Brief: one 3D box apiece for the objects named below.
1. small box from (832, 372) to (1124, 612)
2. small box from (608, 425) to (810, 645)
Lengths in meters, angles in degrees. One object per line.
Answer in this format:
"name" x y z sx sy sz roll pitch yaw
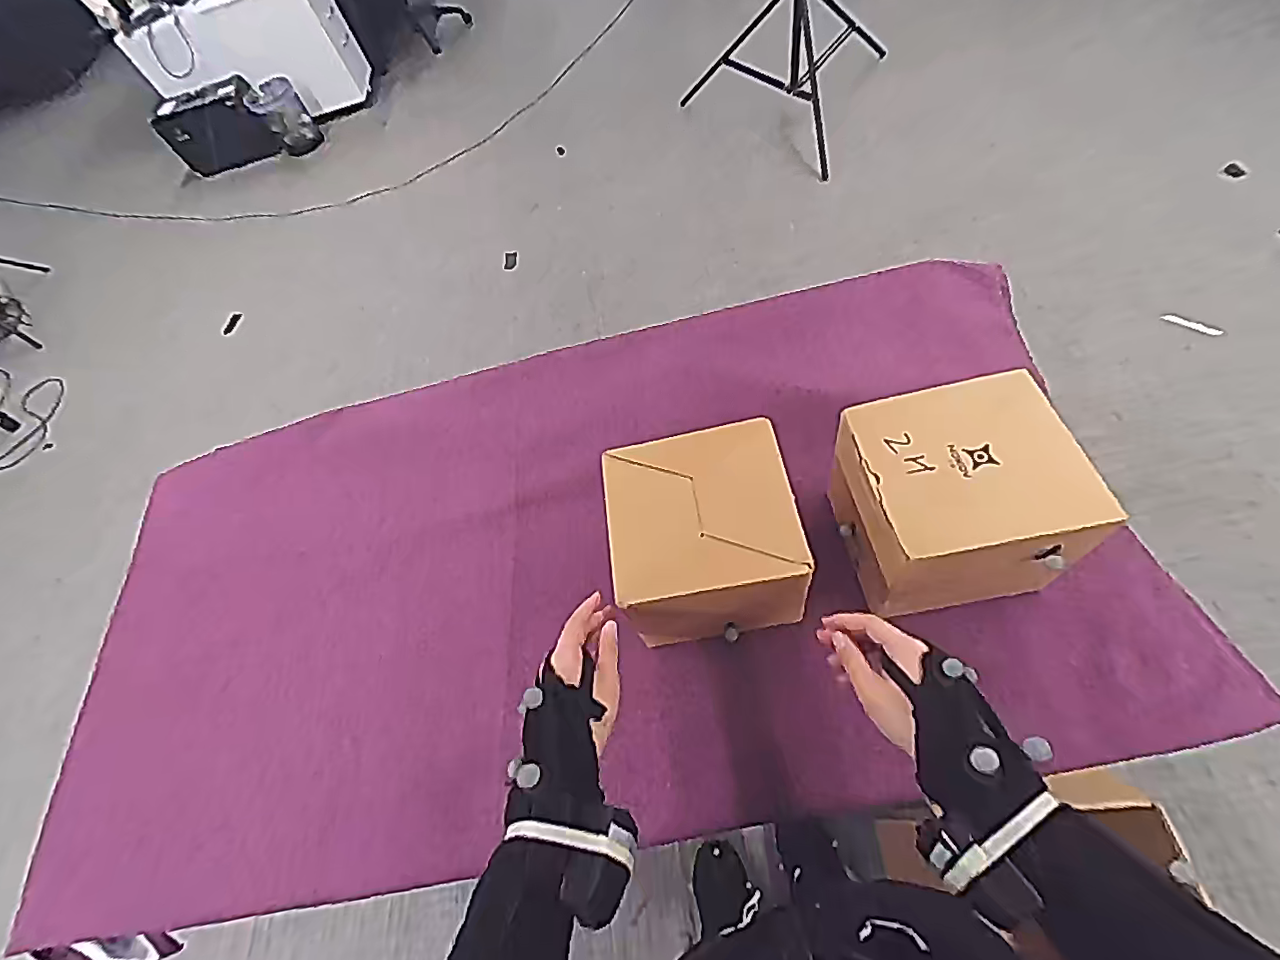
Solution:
"small box" 0.311 0.021 0.549 0.179 0.176 0.168 -12 57 6
"small box" 0.071 0.062 0.580 0.179 0.176 0.168 -12 58 7
